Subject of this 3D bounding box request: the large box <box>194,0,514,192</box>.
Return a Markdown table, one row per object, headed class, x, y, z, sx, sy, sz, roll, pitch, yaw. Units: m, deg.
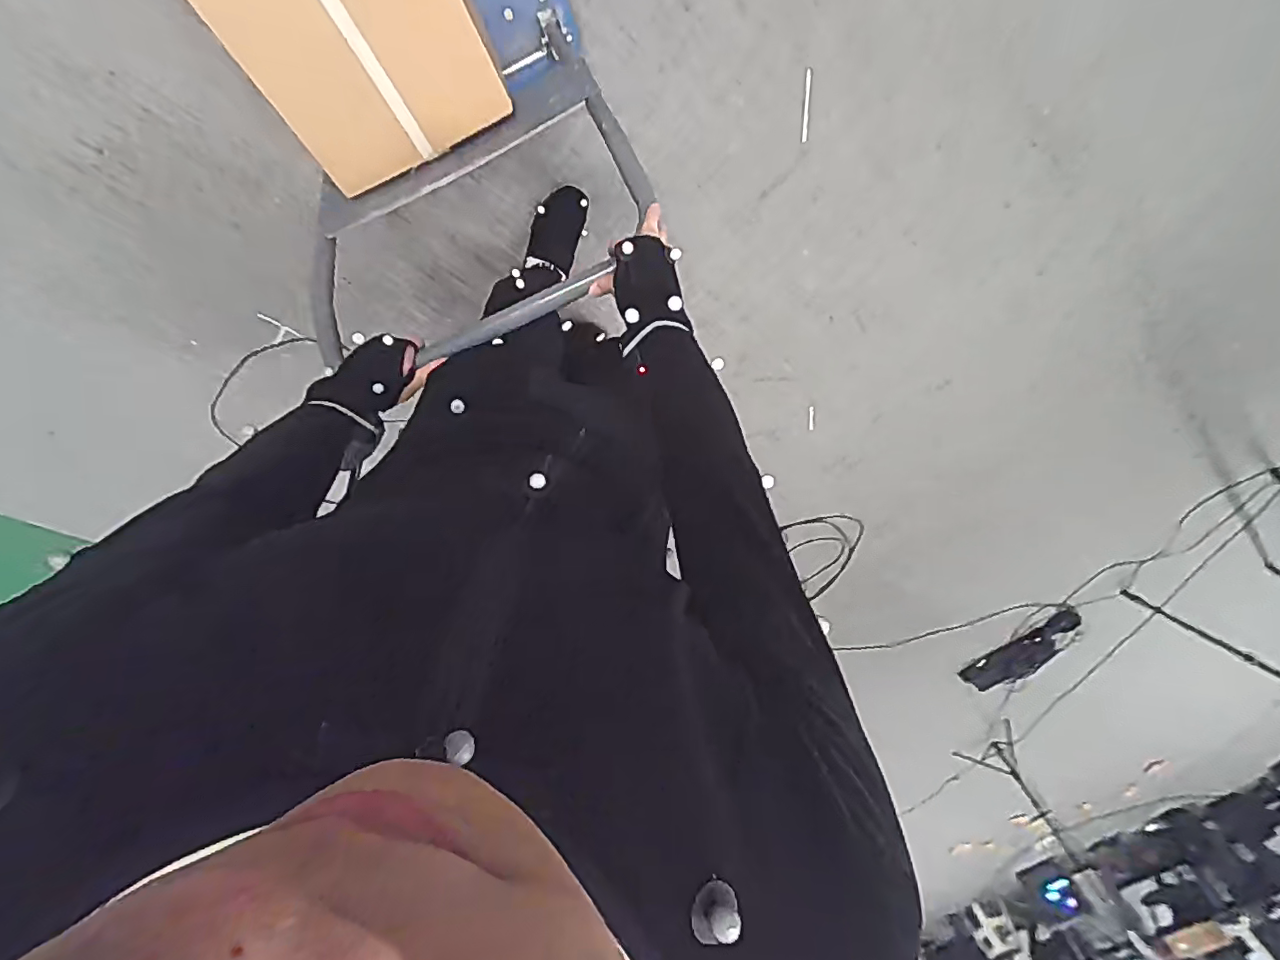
| class | x | y | z | sx | sy | sz | roll | pitch | yaw |
| --- | --- | --- | --- | --- | --- | --- | --- | --- | --- |
| large box | -0.434 | -0.743 | 0.803 | 0.320 | 0.320 | 0.408 | -24 | 142 | 7 |
